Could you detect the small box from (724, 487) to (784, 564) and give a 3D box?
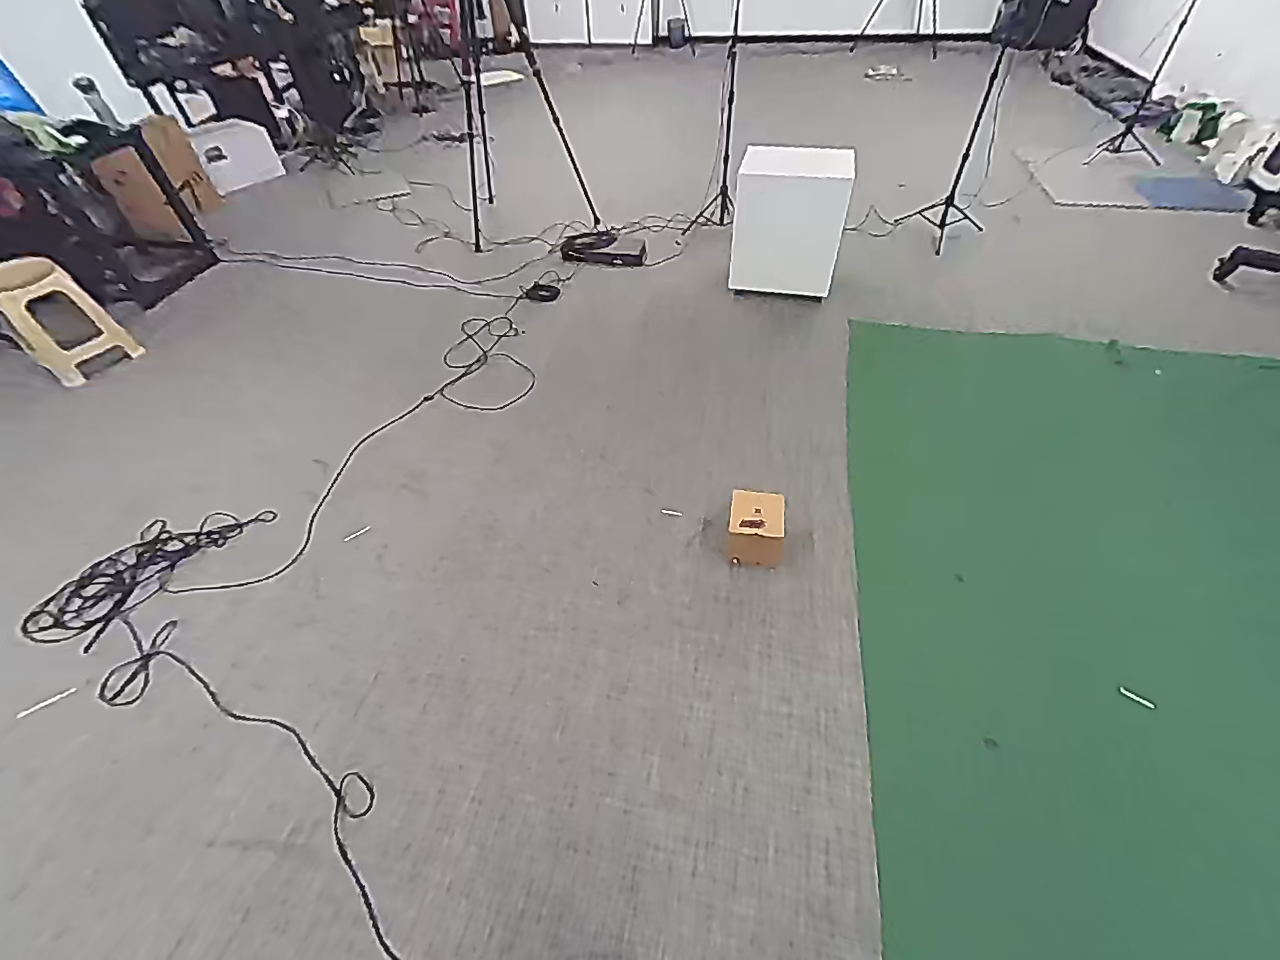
[{"bbox_3d":[0.363,0.149,1.728,0.168,0.176,0.179,7,48,8],"label":"small box"}]
